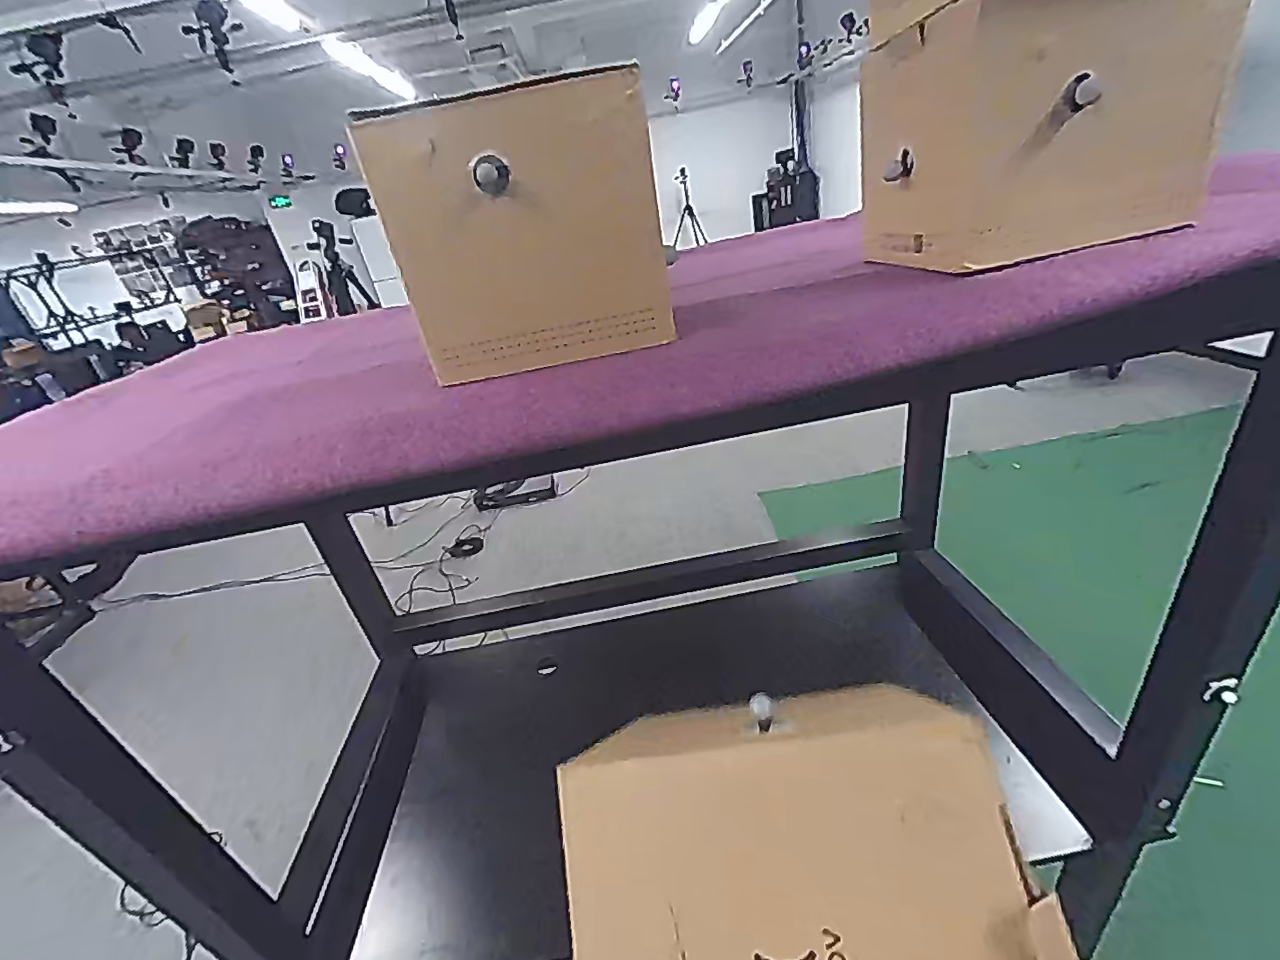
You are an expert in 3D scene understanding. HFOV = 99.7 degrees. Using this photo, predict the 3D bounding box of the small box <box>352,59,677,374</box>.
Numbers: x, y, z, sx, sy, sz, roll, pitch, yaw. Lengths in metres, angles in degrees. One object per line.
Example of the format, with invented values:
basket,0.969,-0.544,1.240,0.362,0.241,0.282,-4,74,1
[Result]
small box,-0.076,-0.191,0.419,0.179,0.176,0.168,-10,29,1

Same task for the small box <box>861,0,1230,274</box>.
small box,0.296,-0.269,0.426,0.179,0.176,0.168,-12,26,2

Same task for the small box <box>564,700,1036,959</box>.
small box,0.077,0.216,0.280,0.179,0.176,0.168,-12,70,10

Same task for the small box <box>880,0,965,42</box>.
small box,0.266,-0.407,0.343,0.179,0.176,0.168,-12,26,1
